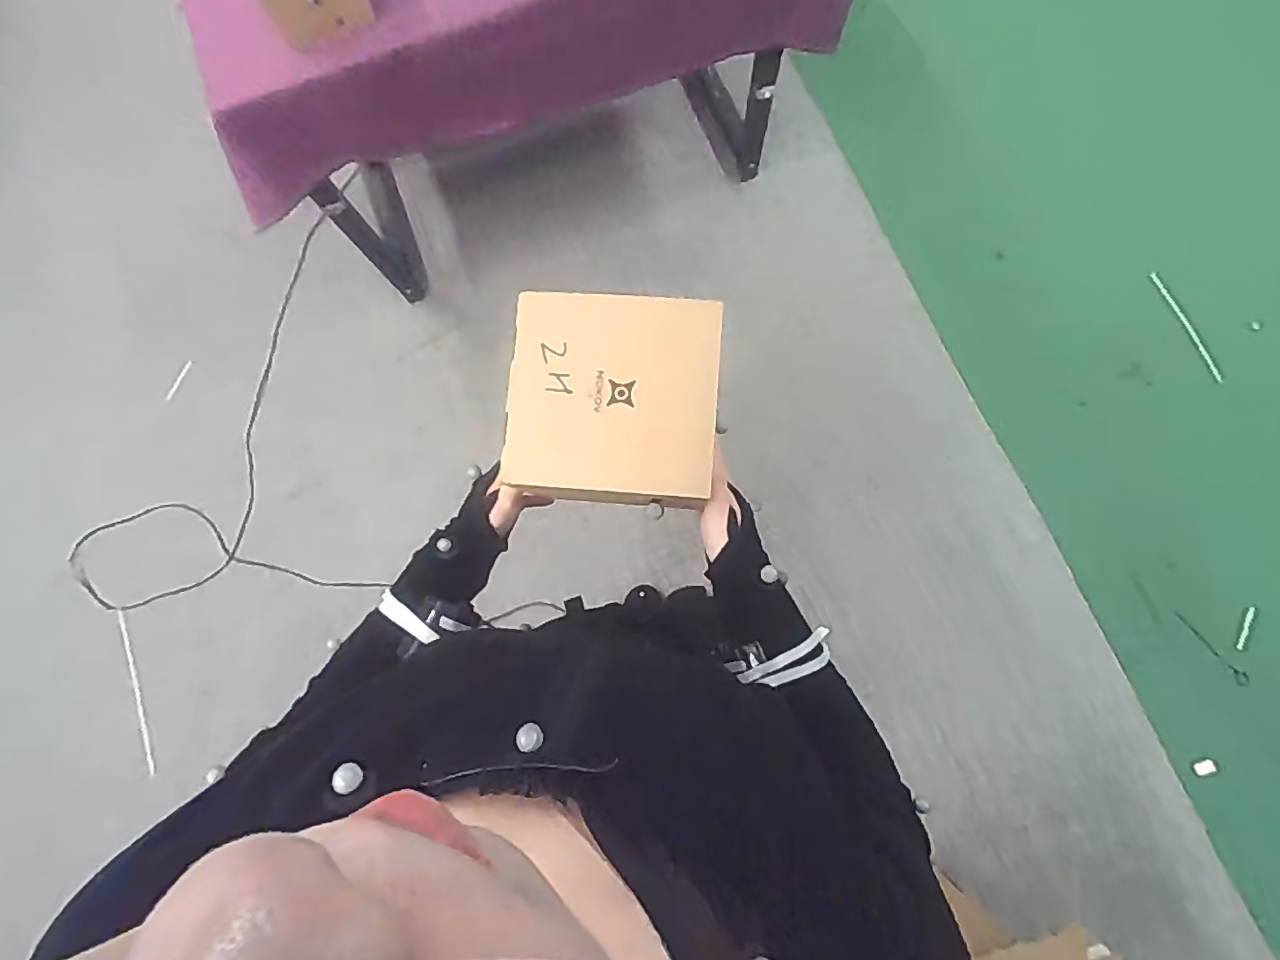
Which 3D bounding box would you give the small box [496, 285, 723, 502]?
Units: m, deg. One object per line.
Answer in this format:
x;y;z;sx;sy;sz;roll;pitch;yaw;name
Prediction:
-0.019;-0.069;0.523;0.179;0.176;0.168;5;84;6;small box

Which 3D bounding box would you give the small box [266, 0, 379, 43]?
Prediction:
-0.587;-0.914;0.942;0.168;0.176;0.179;-20;79;-1;small box
